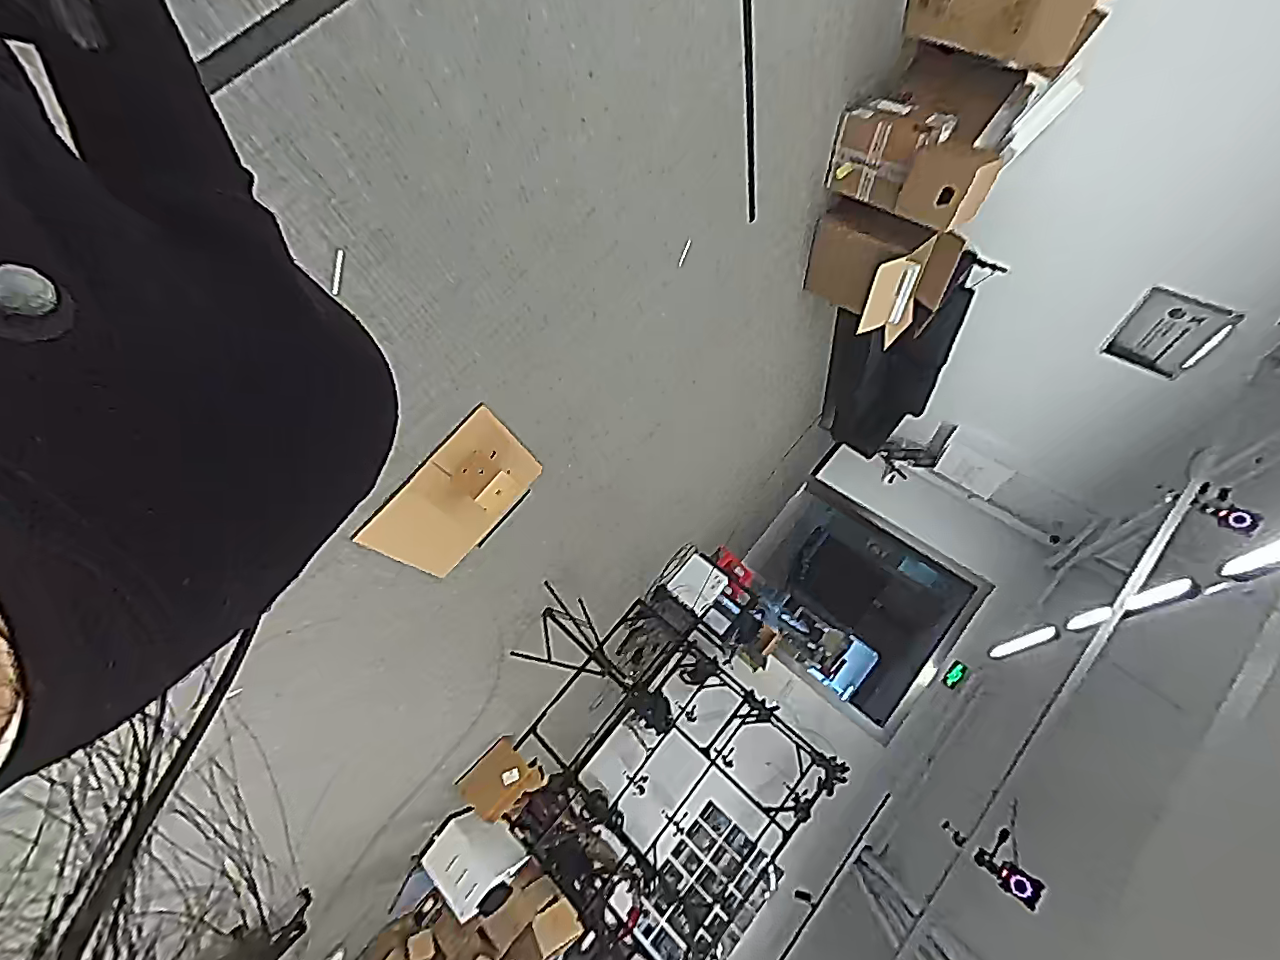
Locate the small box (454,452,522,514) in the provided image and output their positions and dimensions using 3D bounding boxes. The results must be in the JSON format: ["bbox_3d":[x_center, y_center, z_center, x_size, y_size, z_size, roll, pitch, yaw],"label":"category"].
[{"bbox_3d":[-0.631,0.006,2.230,0.168,0.176,0.179,-50,154,-8],"label":"small box"}]
